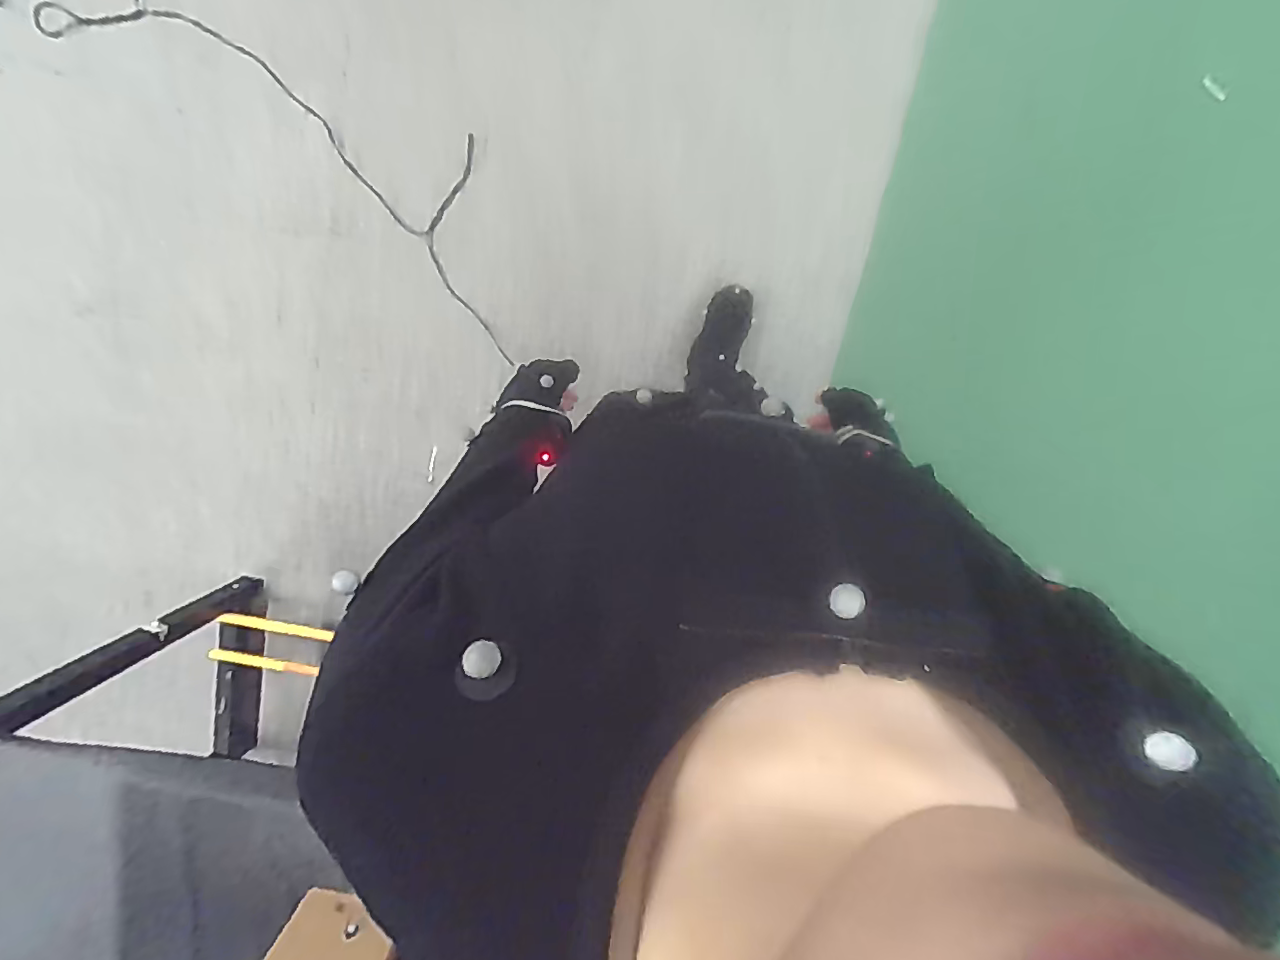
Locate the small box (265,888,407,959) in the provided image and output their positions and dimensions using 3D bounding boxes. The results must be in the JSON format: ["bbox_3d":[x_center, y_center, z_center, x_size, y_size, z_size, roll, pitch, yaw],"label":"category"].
[{"bbox_3d":[-0.472,0.774,0.816,0.168,0.176,0.179,11,101,-2],"label":"small box"}]
